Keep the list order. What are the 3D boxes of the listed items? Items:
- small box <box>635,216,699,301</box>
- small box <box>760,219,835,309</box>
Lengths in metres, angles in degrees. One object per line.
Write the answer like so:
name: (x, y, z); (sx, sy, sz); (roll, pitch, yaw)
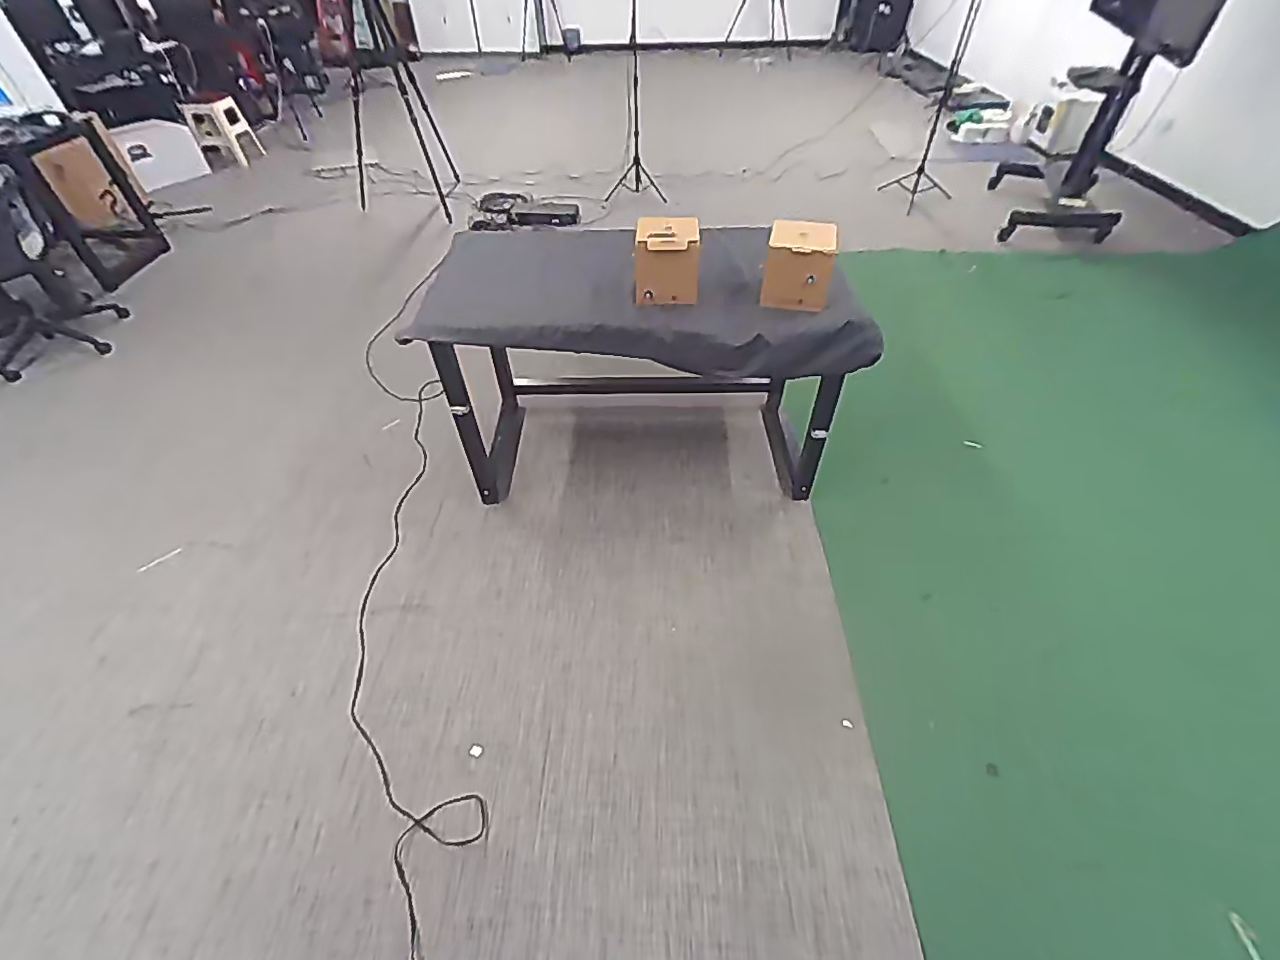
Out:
small box: (0.075, -0.604, 1.480); (0.168, 0.176, 0.179); (1, 45, 2)
small box: (0.420, -0.576, 1.447); (0.168, 0.176, 0.179); (10, 46, 10)
